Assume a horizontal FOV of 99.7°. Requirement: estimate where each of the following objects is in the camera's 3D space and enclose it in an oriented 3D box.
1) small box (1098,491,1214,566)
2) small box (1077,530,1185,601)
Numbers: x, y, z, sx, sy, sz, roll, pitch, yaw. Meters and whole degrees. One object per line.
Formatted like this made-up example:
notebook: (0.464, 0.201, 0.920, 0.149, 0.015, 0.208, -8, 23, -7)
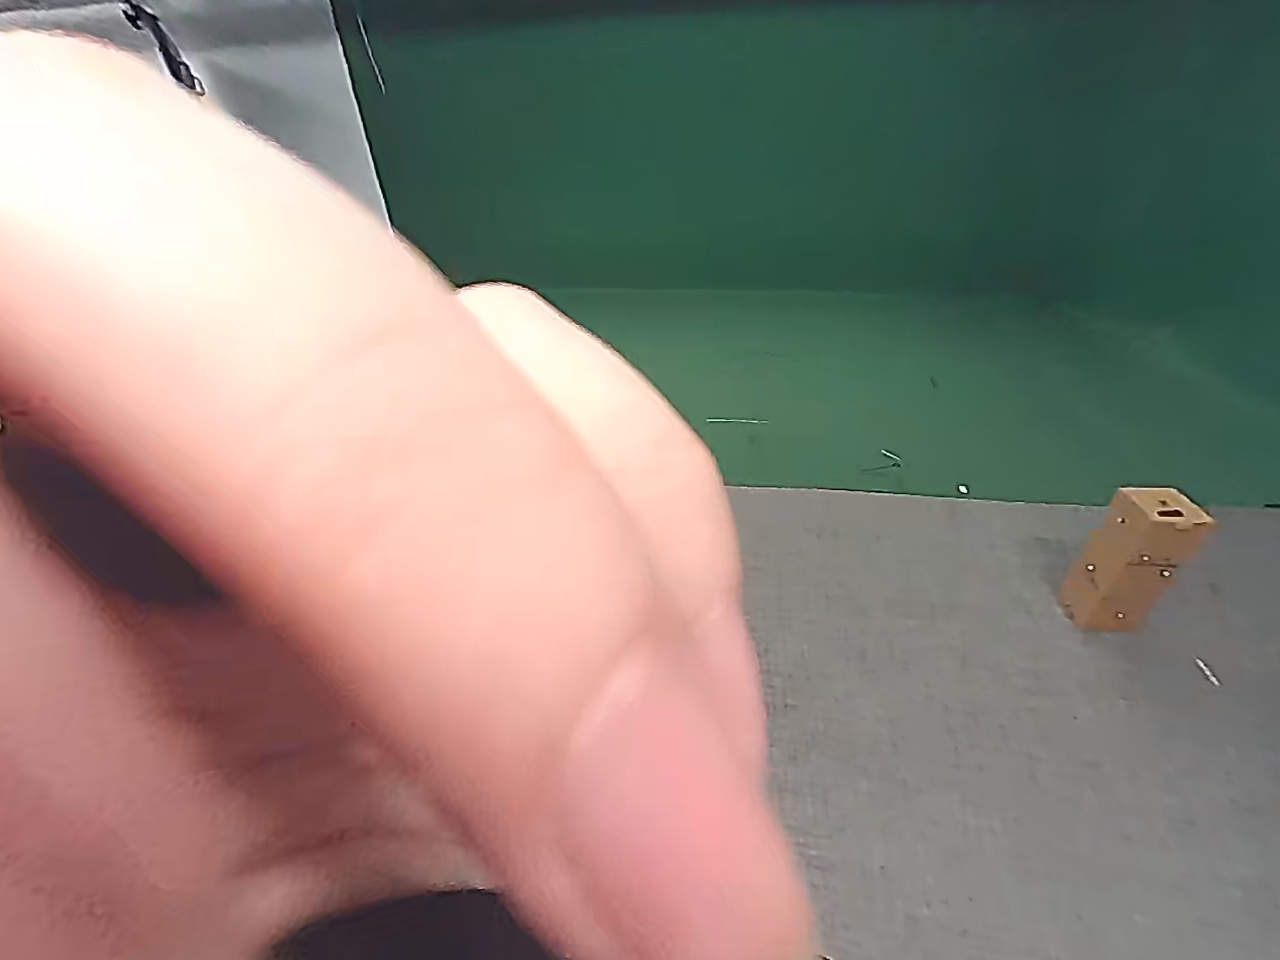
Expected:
small box: (1.578, 0.150, 1.668, 0.168, 0.176, 0.179, 1, 34, 7)
small box: (1.592, 0.282, 1.767, 0.179, 0.176, 0.168, 0, 34, 5)
